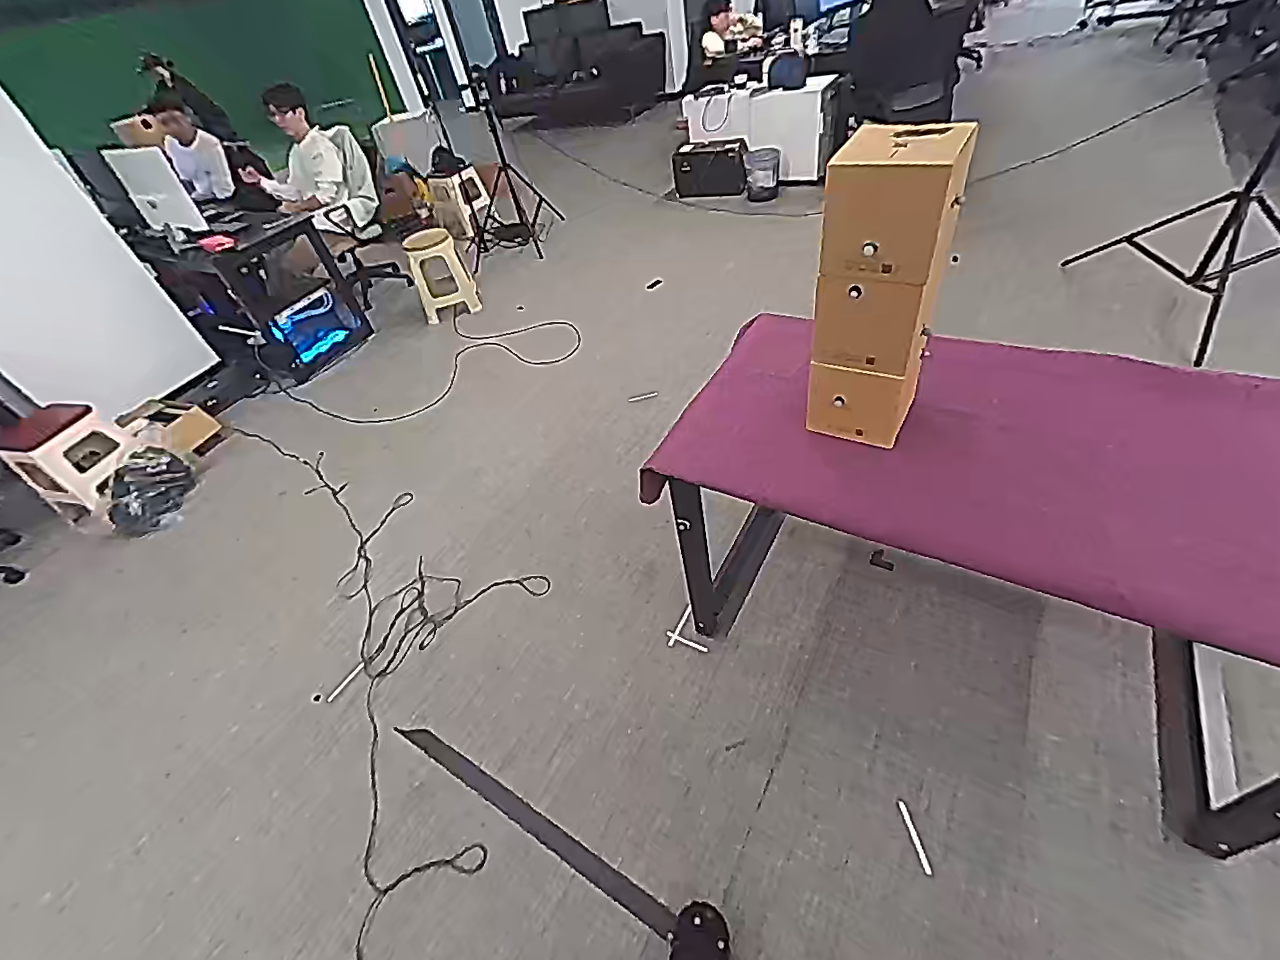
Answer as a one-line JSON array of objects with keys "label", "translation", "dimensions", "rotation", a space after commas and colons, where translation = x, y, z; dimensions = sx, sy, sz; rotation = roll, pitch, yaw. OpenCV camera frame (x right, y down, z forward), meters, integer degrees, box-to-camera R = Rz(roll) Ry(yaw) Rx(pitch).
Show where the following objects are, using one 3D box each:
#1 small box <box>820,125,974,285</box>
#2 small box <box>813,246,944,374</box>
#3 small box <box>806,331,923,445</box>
[{"label": "small box", "translation": [0.386, -0.425, 0.833], "dimensions": [0.168, 0.176, 0.179], "rotation": [18, 52, 28]}, {"label": "small box", "translation": [0.411, -0.312, 0.951], "dimensions": [0.168, 0.176, 0.179], "rotation": [17, 51, 28]}, {"label": "small box", "translation": [0.435, -0.193, 1.061], "dimensions": [0.168, 0.176, 0.179], "rotation": [18, 52, 28]}]
